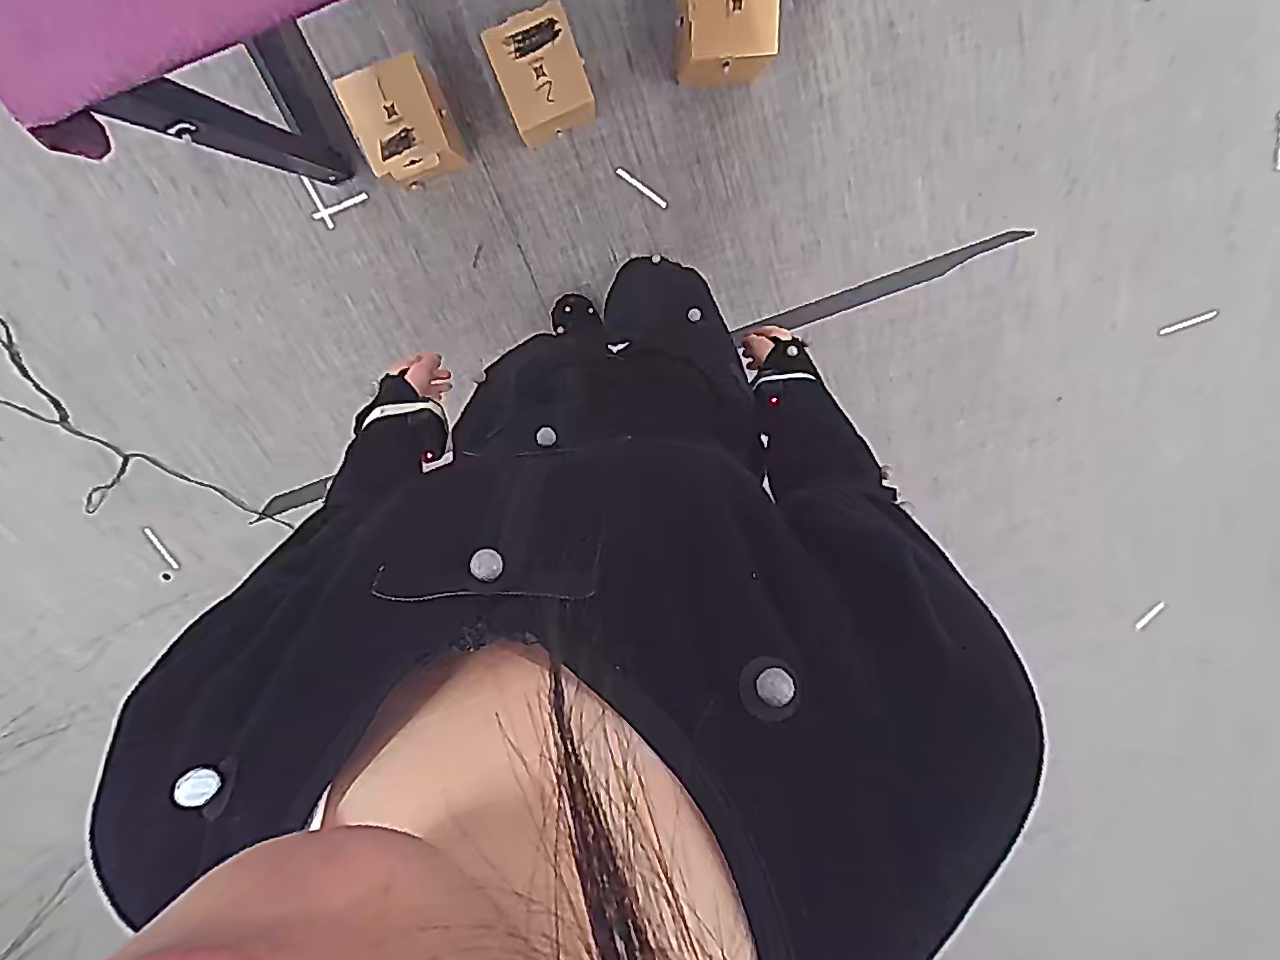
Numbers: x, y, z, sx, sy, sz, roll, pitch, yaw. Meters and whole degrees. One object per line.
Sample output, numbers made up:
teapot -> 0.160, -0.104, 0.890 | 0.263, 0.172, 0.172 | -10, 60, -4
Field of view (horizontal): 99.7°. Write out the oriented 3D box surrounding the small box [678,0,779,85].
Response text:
small box -> 0.176, -0.935, 1.109 | 0.179, 0.176, 0.168 | -4, 112, -2

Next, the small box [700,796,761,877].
small box -> 0.335, 1.326, 2.018 | 0.168, 0.176, 0.179 | -21, 113, 4

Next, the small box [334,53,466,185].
small box -> -0.487, -0.737, 1.131 | 0.168, 0.176, 0.179 | -19, 111, 3
